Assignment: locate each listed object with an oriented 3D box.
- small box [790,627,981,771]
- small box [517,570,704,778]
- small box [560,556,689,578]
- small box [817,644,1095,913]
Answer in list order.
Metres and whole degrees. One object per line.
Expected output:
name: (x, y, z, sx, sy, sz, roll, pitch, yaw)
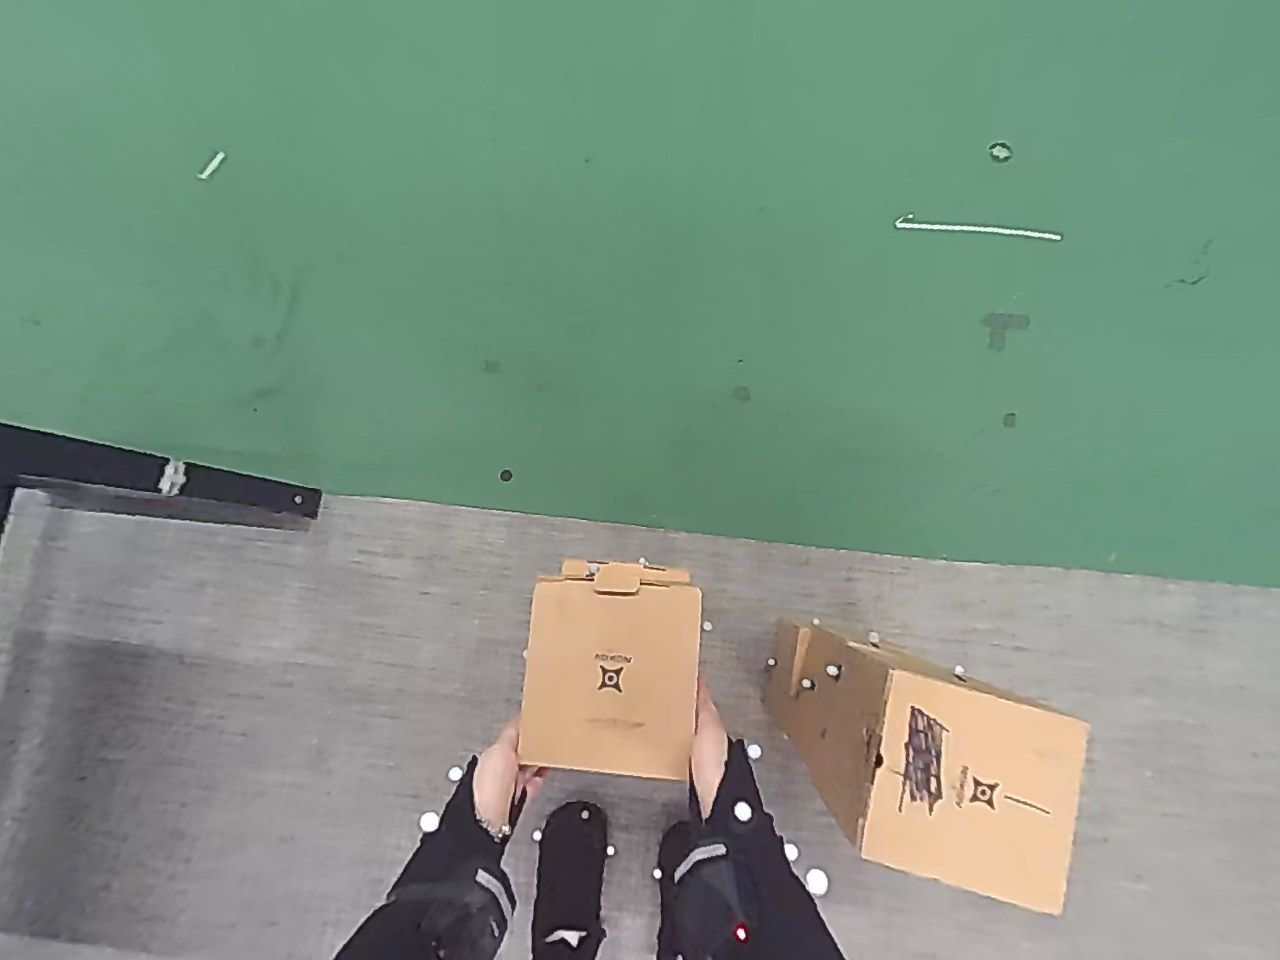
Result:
small box: (0.311, 0.299, 0.705, 0.179, 0.176, 0.168, 16, 83, 5)
small box: (-0.021, 0.189, 0.578, 0.168, 0.176, 0.179, 2, 81, 5)
small box: (-0.022, 0.201, 0.741, 0.168, 0.176, 0.179, 5, 80, 4)
small box: (0.295, 0.273, 0.544, 0.179, 0.176, 0.168, 14, 82, 5)
